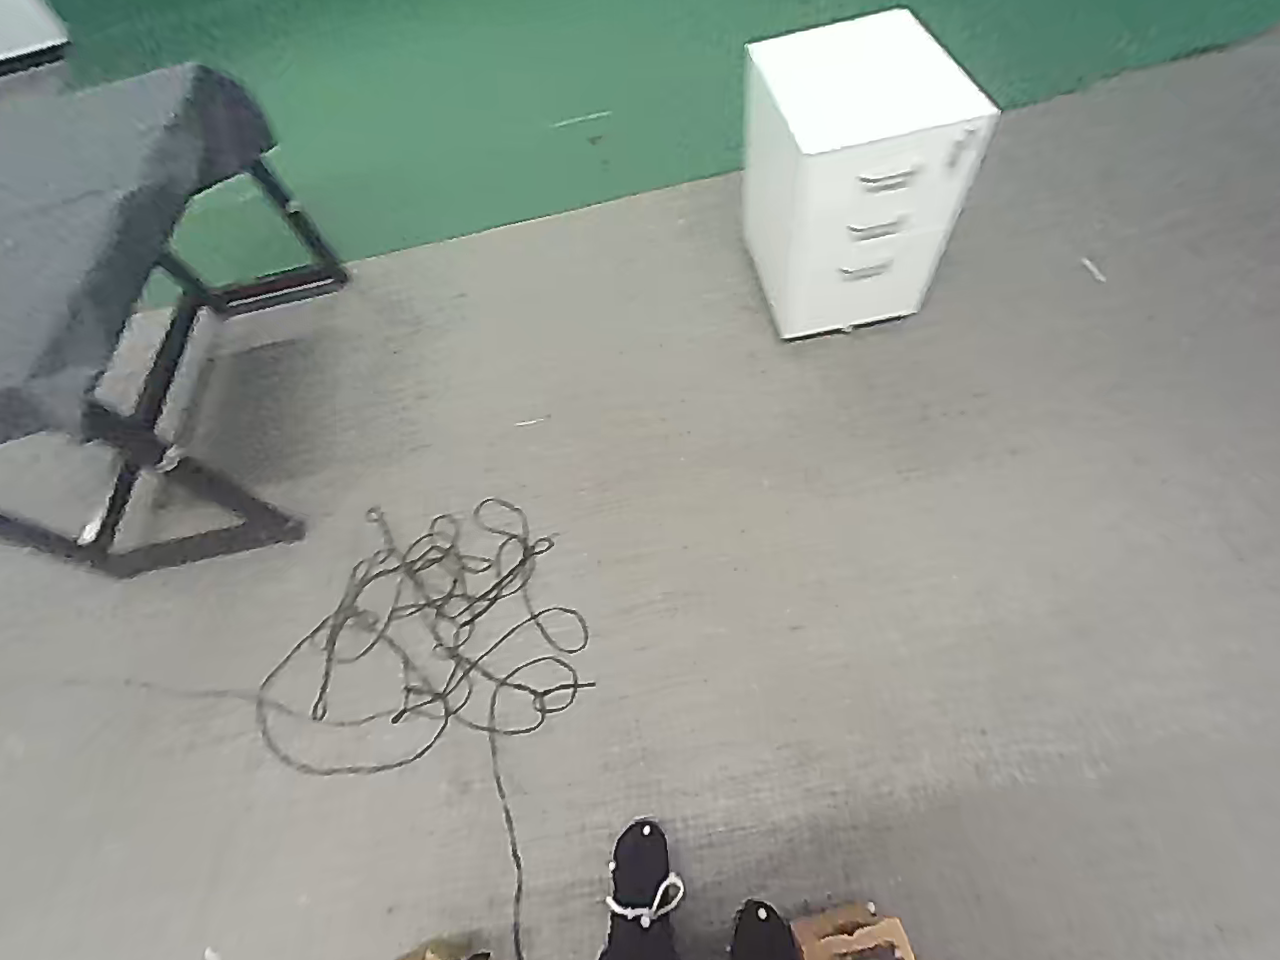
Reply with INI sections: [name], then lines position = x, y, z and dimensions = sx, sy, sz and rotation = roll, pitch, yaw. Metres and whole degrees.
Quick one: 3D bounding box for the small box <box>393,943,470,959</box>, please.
[small box]
position = -0.371, 0.952, 0.931
dimensions = 0.168, 0.176, 0.179
rotation = 12, 63, 16
